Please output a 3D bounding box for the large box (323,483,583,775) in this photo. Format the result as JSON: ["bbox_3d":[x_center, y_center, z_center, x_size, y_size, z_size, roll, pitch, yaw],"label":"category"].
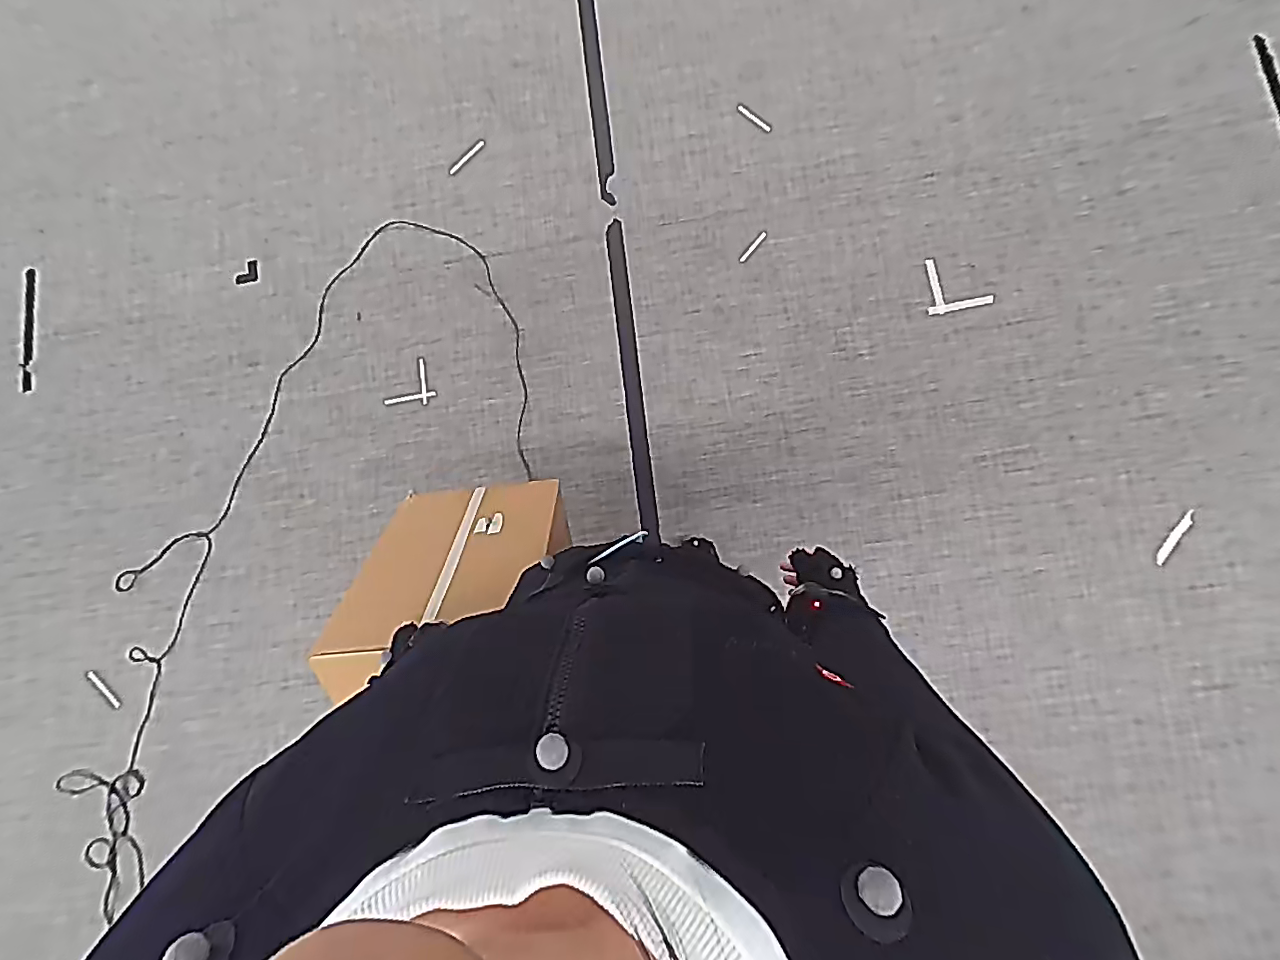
[{"bbox_3d":[-0.286,0.251,0.990,0.320,0.408,0.320,-5,121,1],"label":"large box"}]
